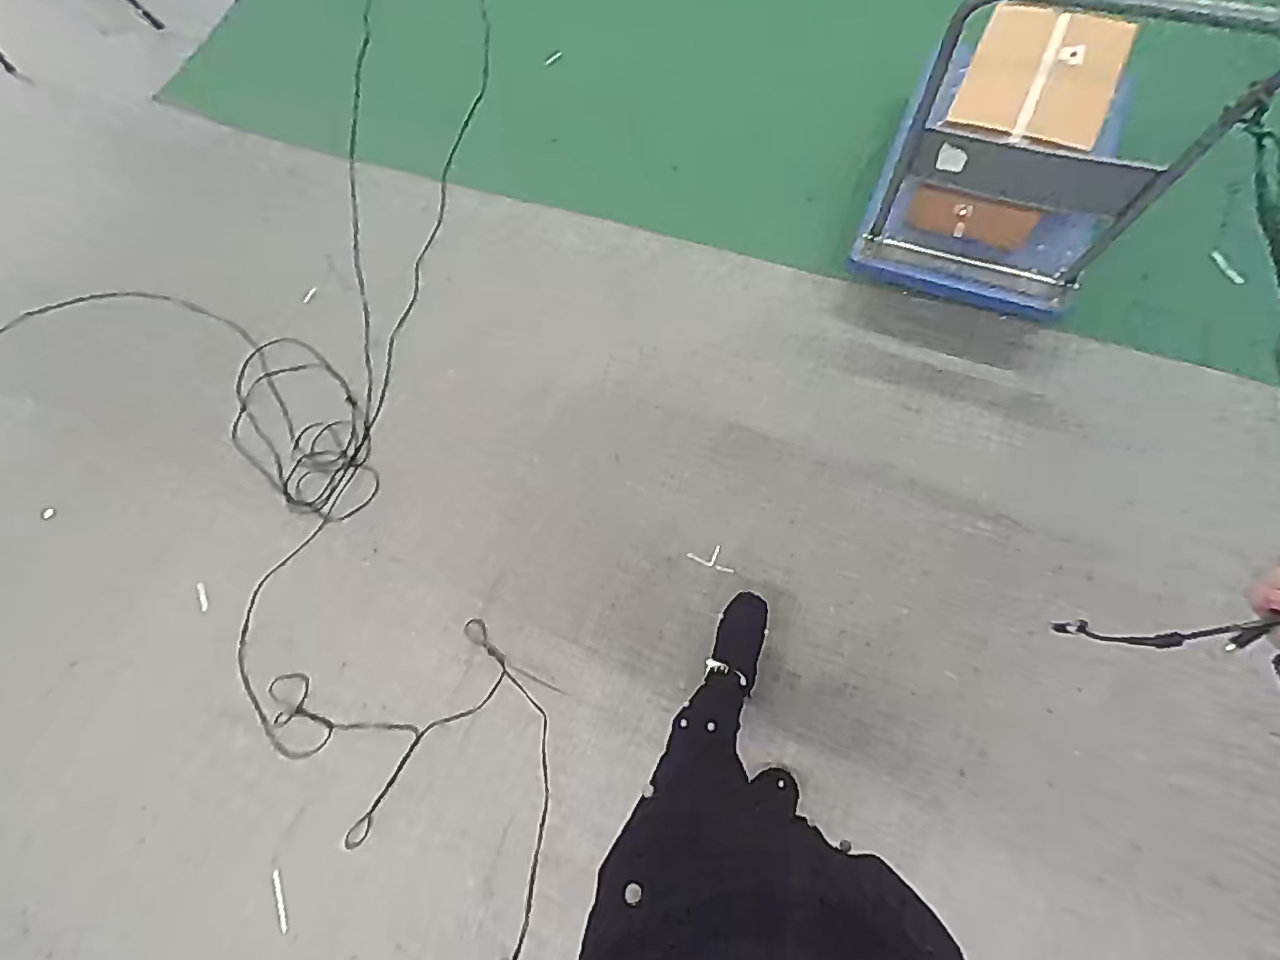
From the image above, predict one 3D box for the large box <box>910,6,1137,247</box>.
[{"bbox_3d":[0.948,-0.884,1.379,0.320,0.320,0.408,25,77,14],"label":"large box"}]
